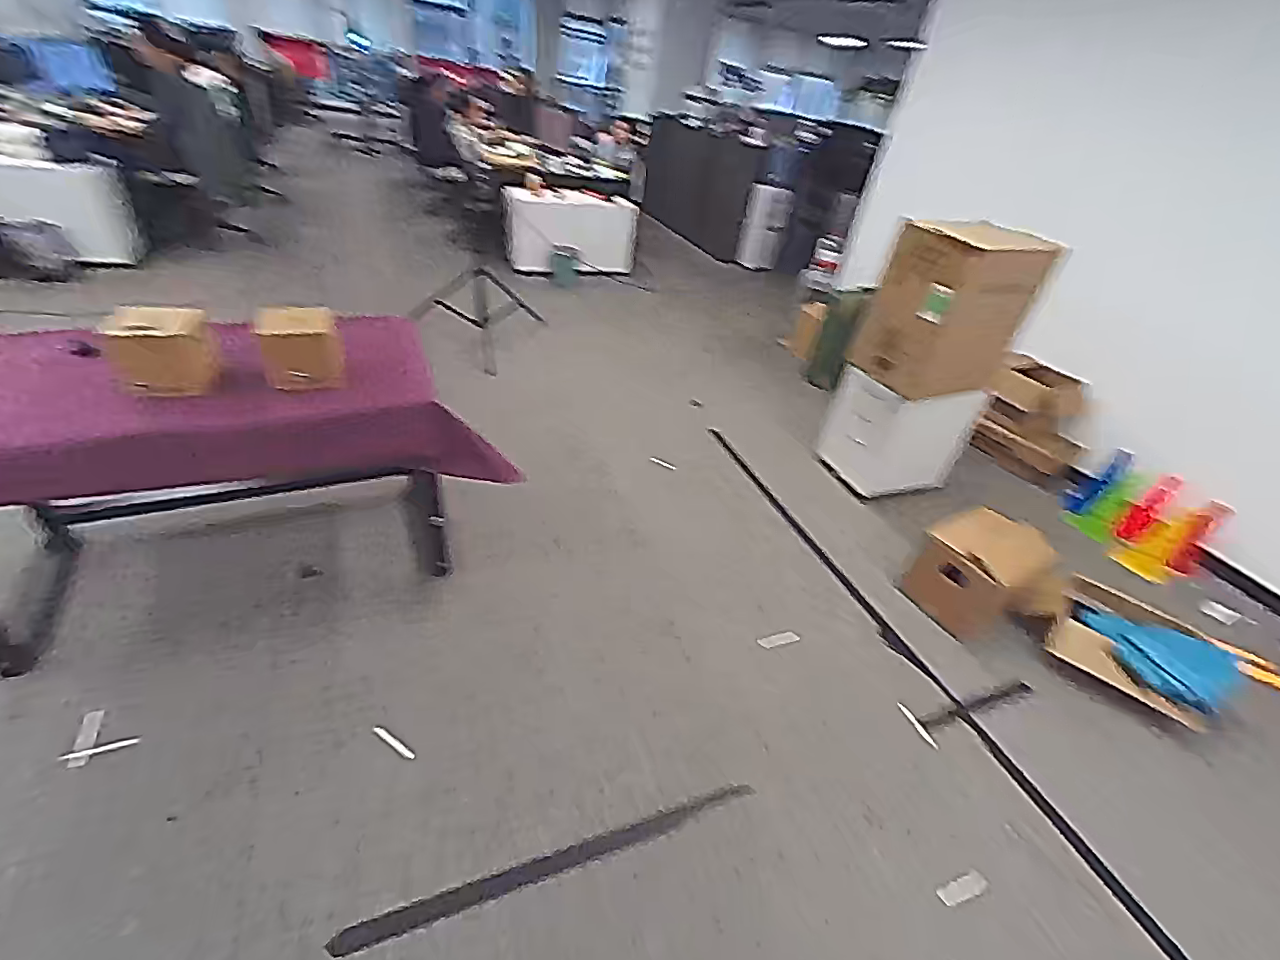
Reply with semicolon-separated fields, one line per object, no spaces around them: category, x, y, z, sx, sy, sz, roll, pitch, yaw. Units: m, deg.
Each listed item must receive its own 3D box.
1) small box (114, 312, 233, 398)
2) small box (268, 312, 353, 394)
small box;-1.193;-0.323;1.401;0.168;0.176;0.179;-5;38;-19
small box;-0.914;-0.356;1.513;0.168;0.176;0.179;-9;41;-21
